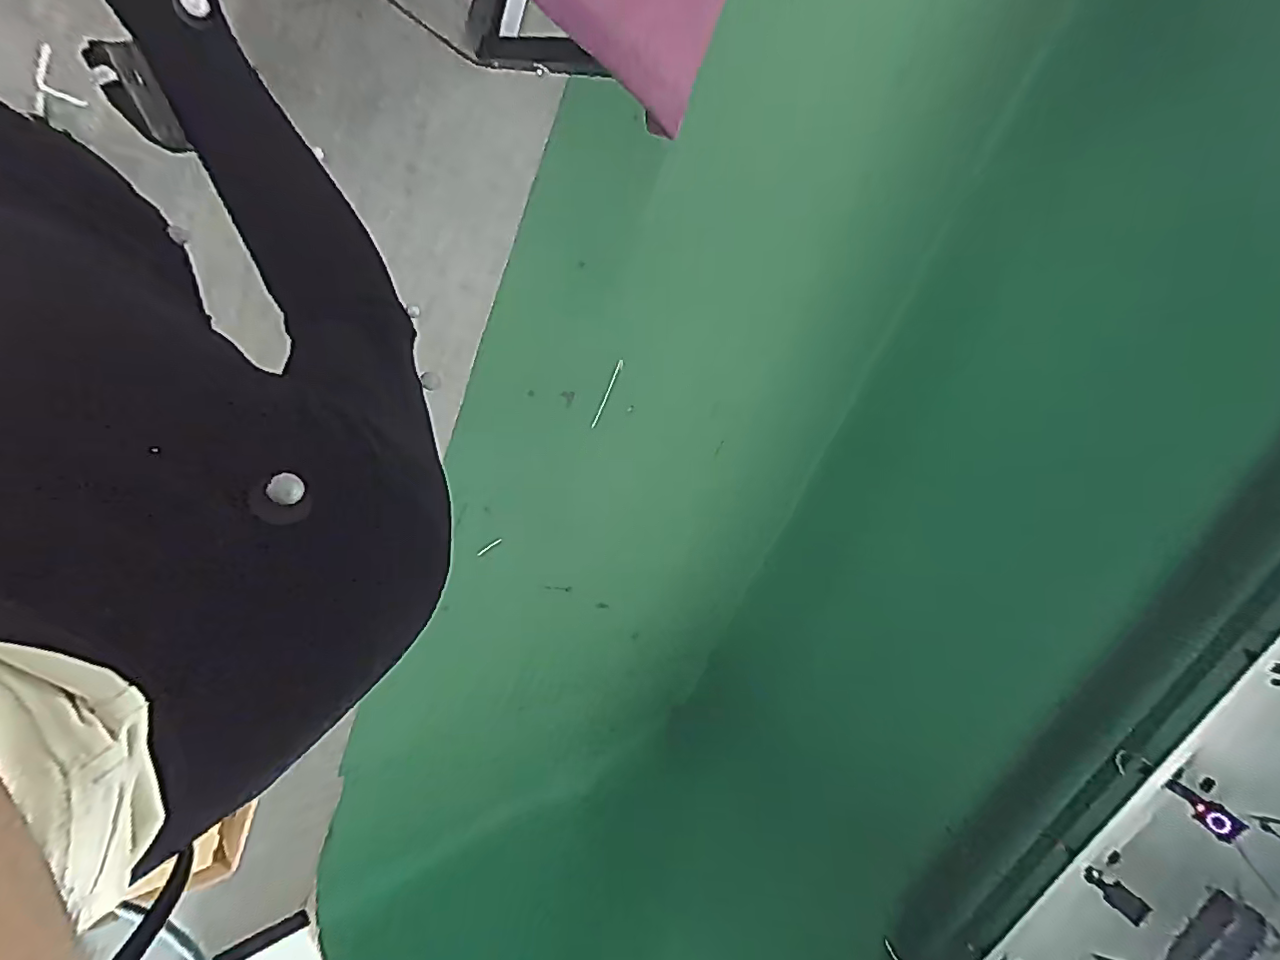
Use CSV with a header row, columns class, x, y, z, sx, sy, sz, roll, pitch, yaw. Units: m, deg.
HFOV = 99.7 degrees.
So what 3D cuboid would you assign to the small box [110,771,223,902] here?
class,x,y,z,sx,sy,sz,roll,pitch,yaw
small box,-1.143,0.845,1.304,0.179,0.176,0.168,5,114,-49
